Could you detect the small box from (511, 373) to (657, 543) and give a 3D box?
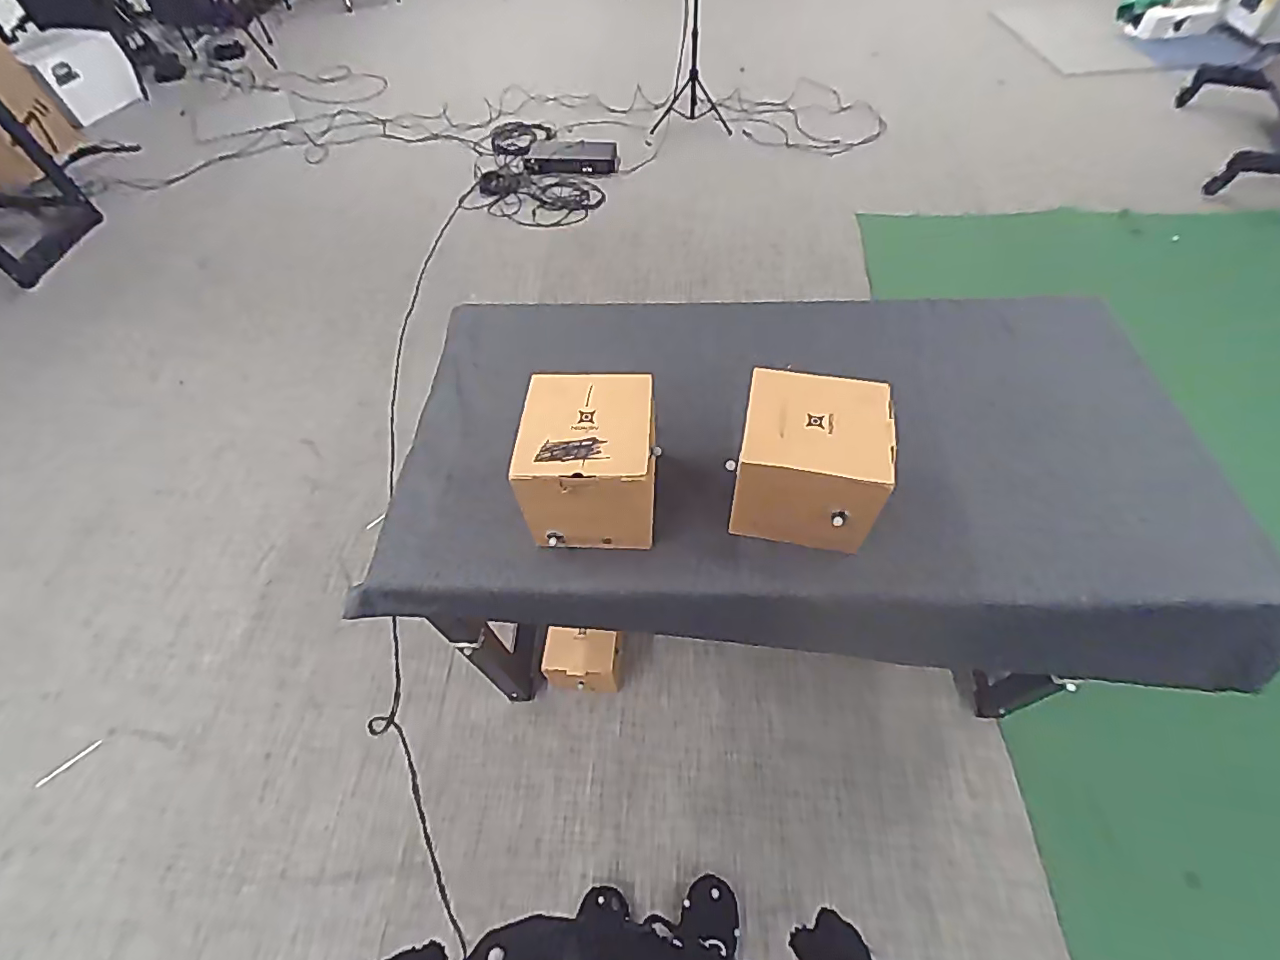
[{"bbox_3d":[-0.063,-0.026,0.746,0.168,0.176,0.179,2,54,4],"label":"small box"}]

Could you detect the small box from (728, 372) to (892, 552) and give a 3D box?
[{"bbox_3d":[0.222,-0.019,0.734,0.179,0.176,0.168,9,55,10],"label":"small box"}]
